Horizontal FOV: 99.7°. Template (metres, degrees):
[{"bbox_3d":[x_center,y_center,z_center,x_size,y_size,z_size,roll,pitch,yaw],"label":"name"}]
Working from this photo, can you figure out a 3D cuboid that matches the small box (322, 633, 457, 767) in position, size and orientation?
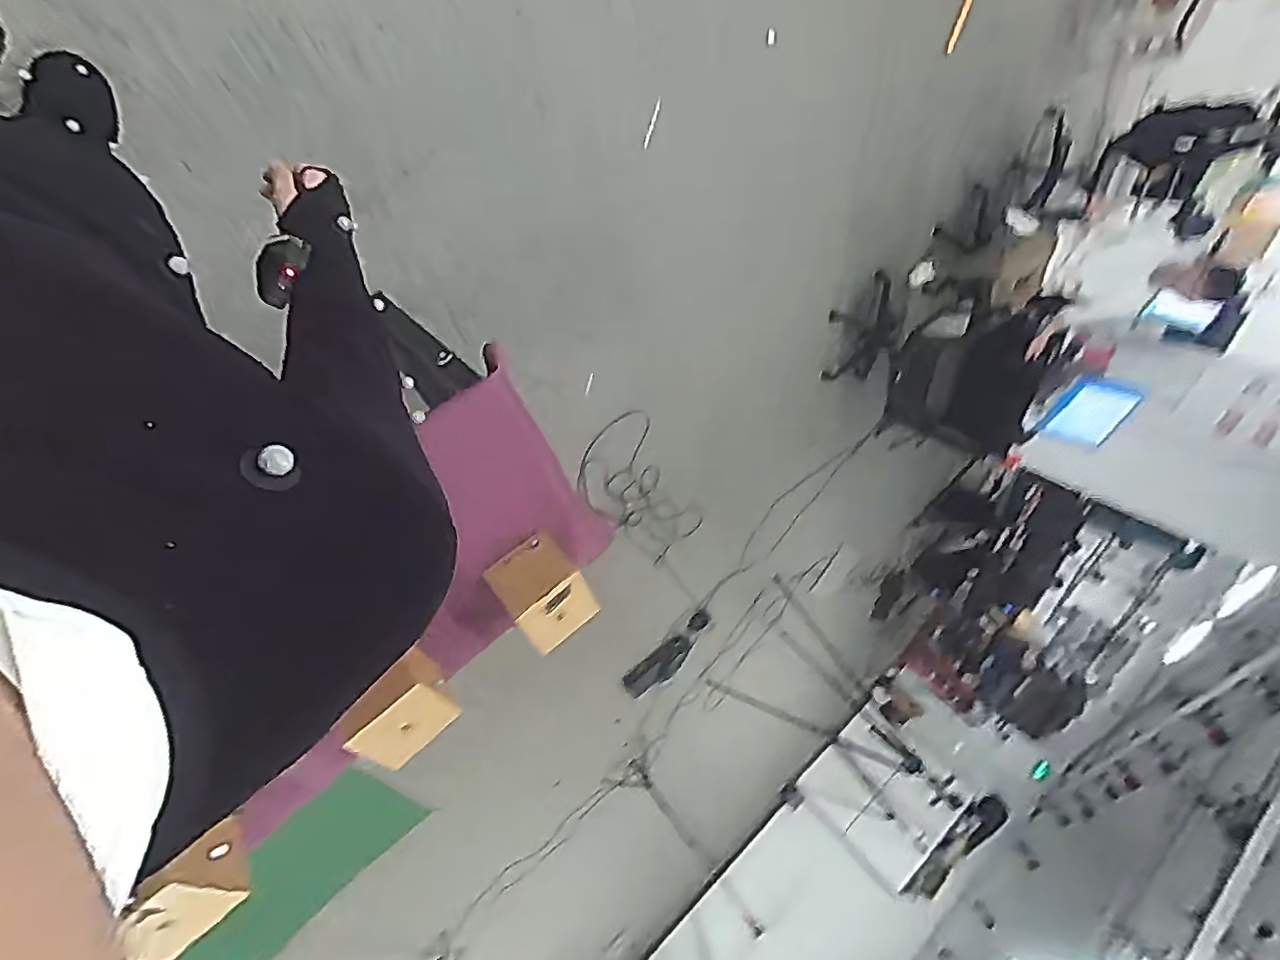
[{"bbox_3d":[-0.520,0.453,1.126,0.168,0.176,0.179,-39,139,-17],"label":"small box"}]

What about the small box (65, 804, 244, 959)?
[{"bbox_3d":[-0.876,0.729,0.985,0.168,0.176,0.179,-40,140,-16],"label":"small box"}]

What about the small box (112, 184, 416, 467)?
[{"bbox_3d":[-0.345,-0.147,0.514,0.168,0.176,0.179,-40,135,-8],"label":"small box"}]

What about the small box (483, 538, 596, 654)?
[{"bbox_3d":[-0.234,0.258,1.250,0.168,0.176,0.179,-37,138,-17],"label":"small box"}]
